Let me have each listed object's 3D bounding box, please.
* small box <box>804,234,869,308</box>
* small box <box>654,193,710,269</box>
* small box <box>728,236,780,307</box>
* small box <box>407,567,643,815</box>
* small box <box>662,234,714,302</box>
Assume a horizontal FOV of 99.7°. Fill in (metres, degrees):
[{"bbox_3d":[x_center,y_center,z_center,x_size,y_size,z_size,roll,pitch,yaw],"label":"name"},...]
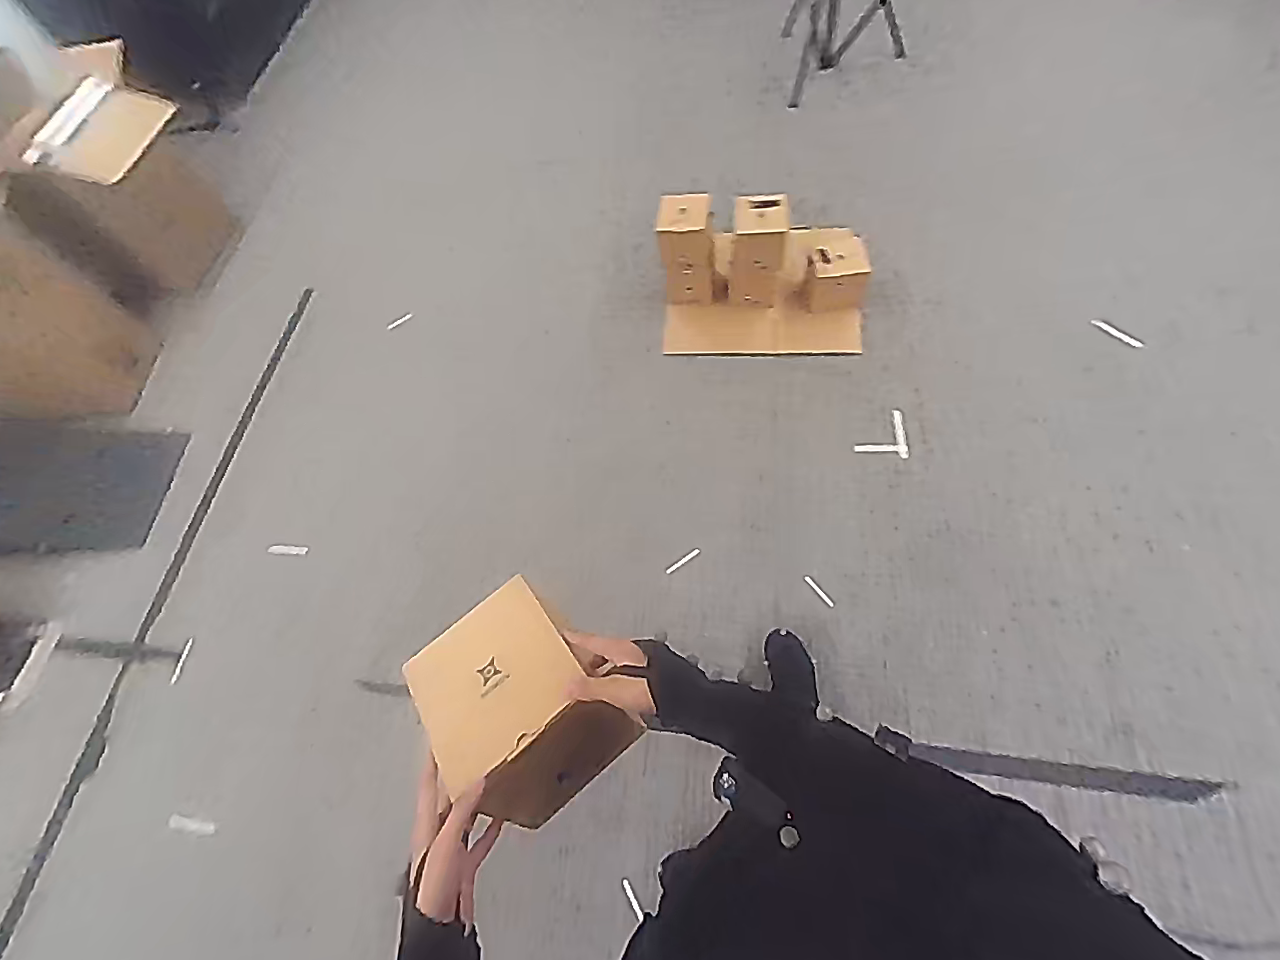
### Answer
[{"bbox_3d":[0.677,-0.721,1.887,0.179,0.176,0.168,-6,63,6],"label":"small box"},{"bbox_3d":[0.149,-0.857,1.861,0.168,0.176,0.179,4,65,13],"label":"small box"},{"bbox_3d":[0.407,-0.753,1.951,0.168,0.176,0.179,5,65,12],"label":"small box"},{"bbox_3d":[-0.124,0.240,0.612,0.168,0.176,0.179,-38,49,-10],"label":"small box"},{"bbox_3d":[0.184,-0.778,2.002,0.168,0.176,0.179,4,66,12],"label":"small box"}]
